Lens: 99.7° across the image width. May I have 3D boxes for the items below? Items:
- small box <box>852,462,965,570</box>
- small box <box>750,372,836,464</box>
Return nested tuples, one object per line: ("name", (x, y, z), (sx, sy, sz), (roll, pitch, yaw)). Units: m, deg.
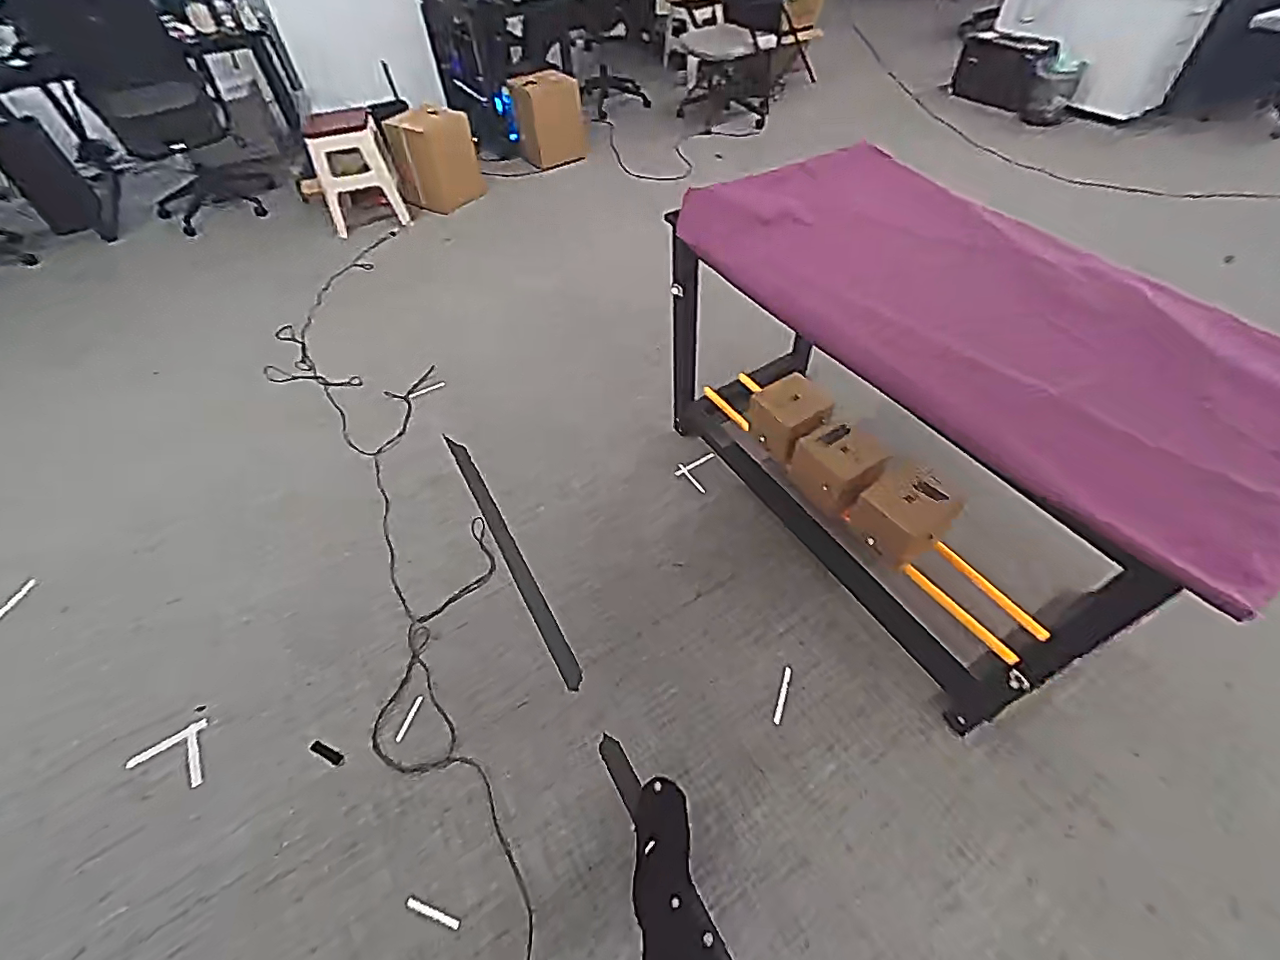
("small box", (0.668, 0.093, 1.368), (0.179, 0.176, 0.168), (-30, 54, -16))
("small box", (0.445, -0.181, 1.606), (0.179, 0.176, 0.168), (-28, 55, -15))
